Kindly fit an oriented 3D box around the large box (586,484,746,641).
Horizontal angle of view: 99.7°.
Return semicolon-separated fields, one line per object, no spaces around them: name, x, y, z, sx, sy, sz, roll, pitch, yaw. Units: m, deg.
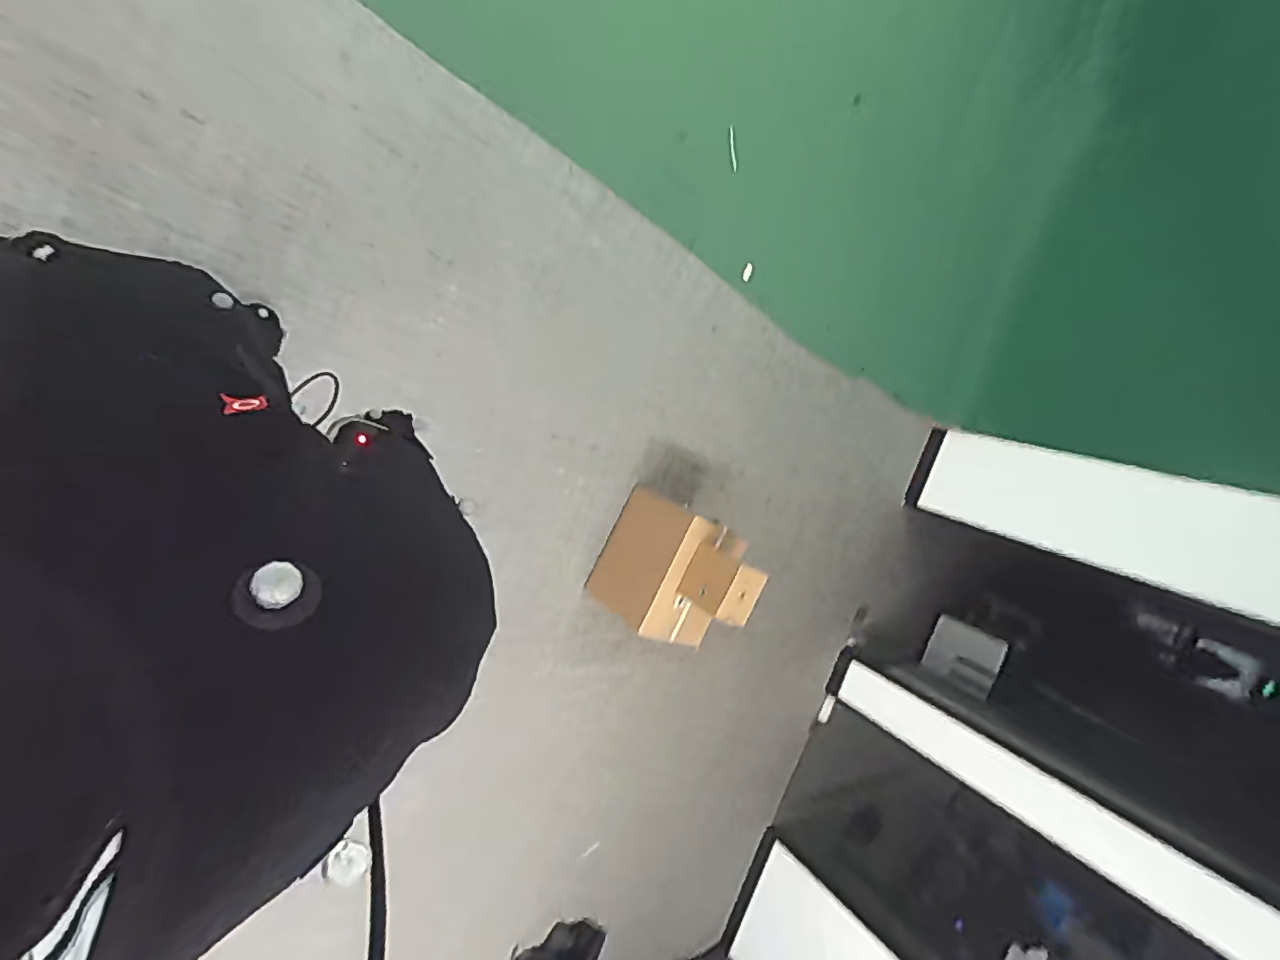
large box;0.084;0.275;1.832;0.320;0.320;0.408;26;91;-42

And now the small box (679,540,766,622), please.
small box;0.246;0.307;1.649;0.168;0.176;0.179;27;88;-44
